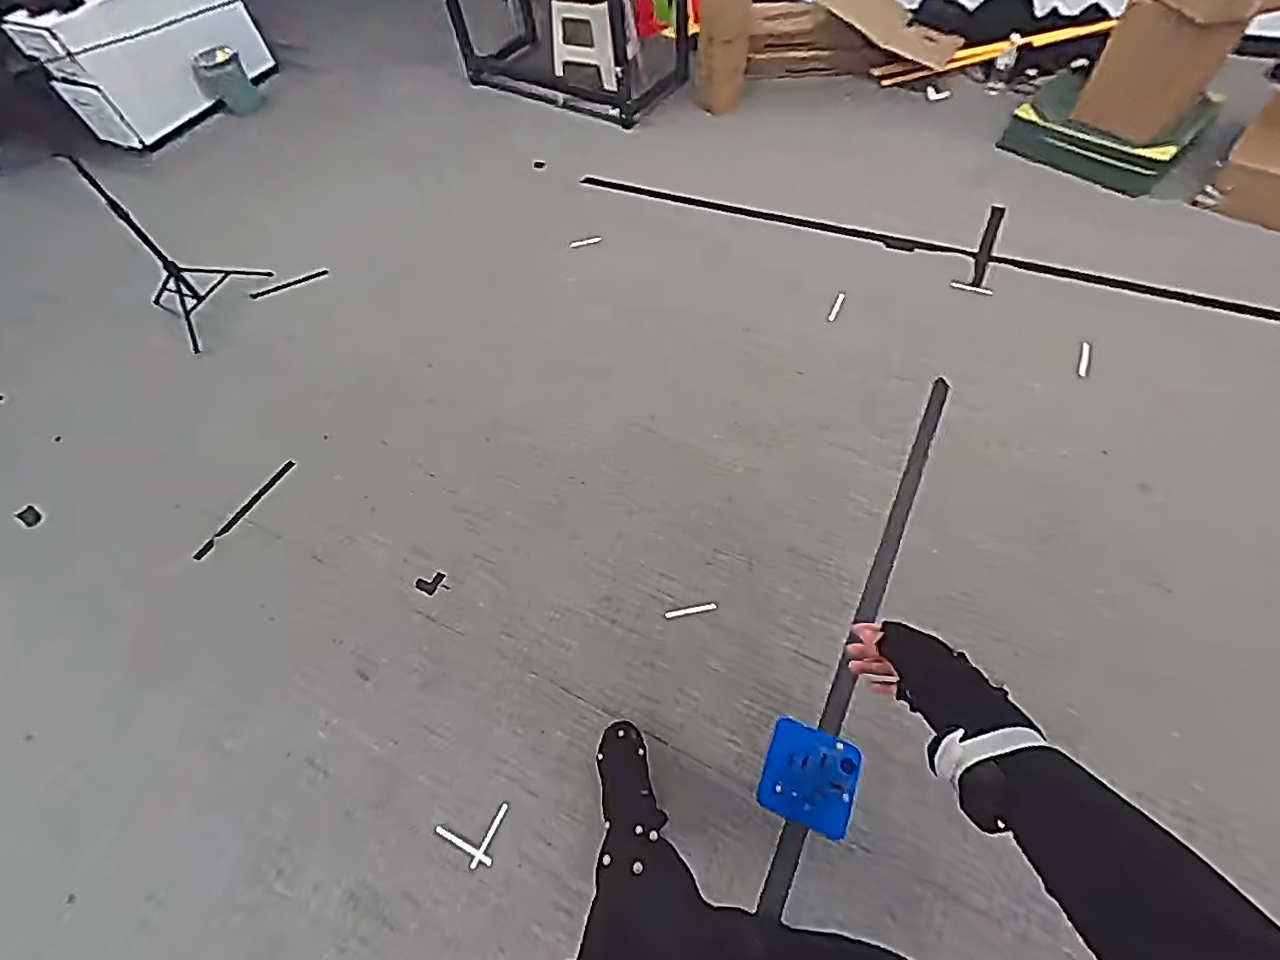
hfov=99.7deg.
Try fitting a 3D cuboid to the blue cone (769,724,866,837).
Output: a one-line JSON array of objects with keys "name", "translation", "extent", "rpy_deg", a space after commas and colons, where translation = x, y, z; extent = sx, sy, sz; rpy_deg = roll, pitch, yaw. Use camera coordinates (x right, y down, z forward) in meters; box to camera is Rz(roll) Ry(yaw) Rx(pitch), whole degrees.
[{"name": "blue cone", "translation": [0.381, 0.583, 1.062], "extent": [0.192, 0.380, 0.193], "rpy_deg": [17, 63, 15]}]
